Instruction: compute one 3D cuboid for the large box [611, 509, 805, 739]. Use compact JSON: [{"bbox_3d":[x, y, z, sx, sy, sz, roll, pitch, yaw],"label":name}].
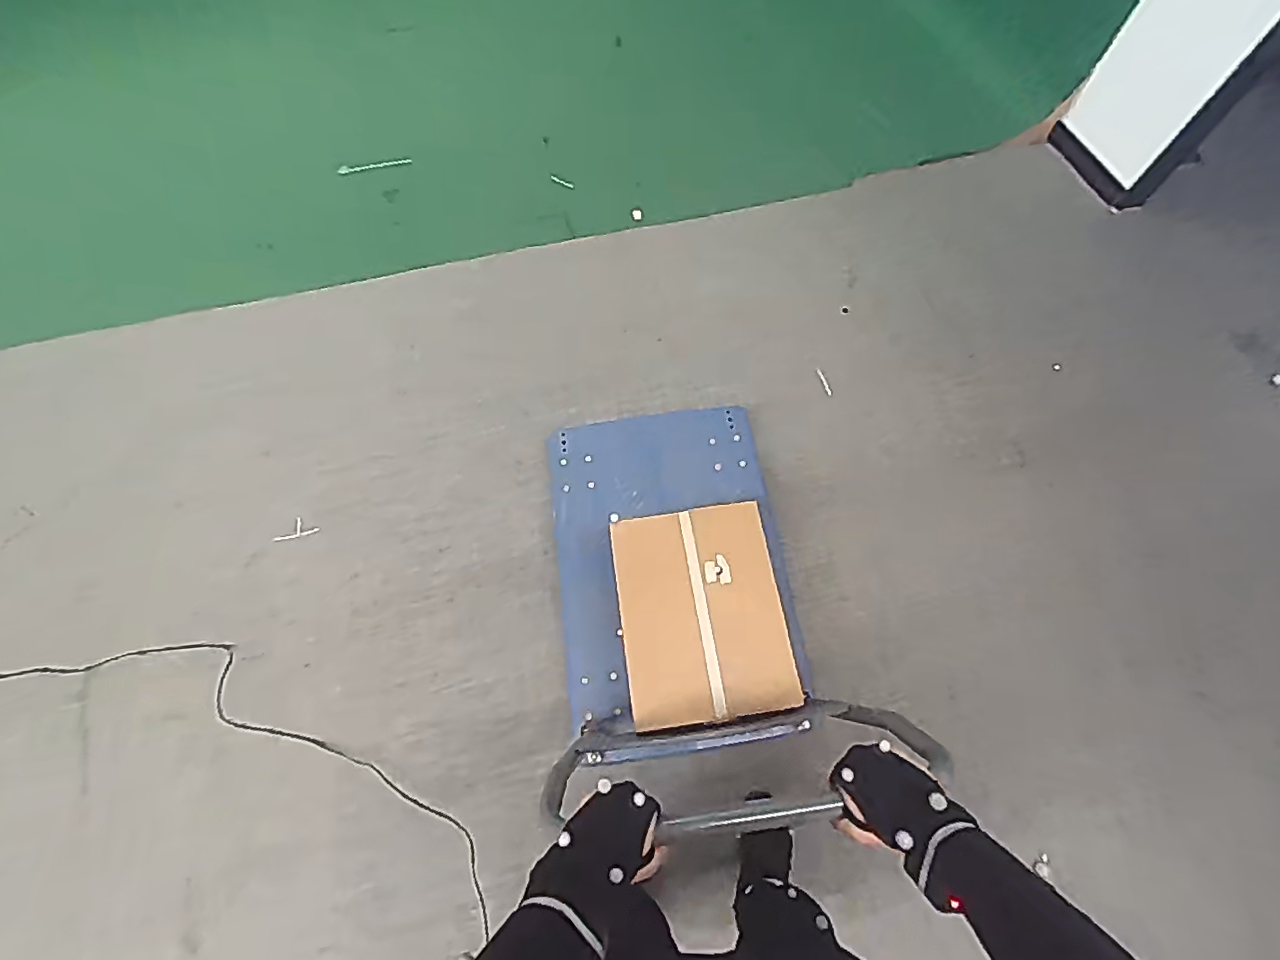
[{"bbox_3d":[0.126,0.323,1.188,0.320,0.320,0.408,-8,65,-2],"label":"large box"}]
